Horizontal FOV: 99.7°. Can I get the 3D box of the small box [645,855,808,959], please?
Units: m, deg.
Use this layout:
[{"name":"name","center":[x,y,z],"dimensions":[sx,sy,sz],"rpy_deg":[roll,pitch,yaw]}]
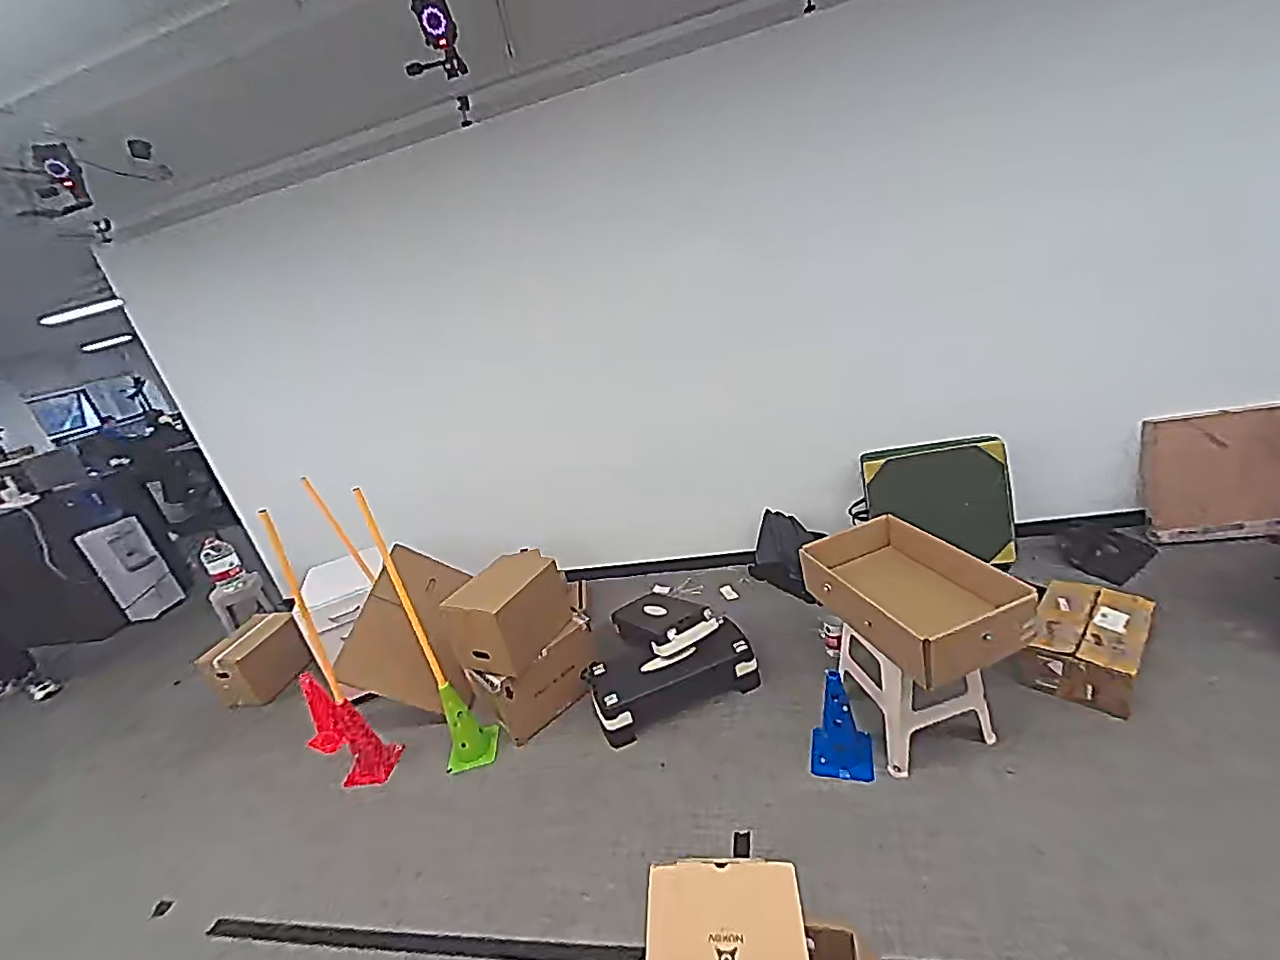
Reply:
[{"name":"small box","center":[0.094,0.549,0.586],"dimensions":[0.168,0.176,0.179],"rpy_deg":[-4,28,7]}]
